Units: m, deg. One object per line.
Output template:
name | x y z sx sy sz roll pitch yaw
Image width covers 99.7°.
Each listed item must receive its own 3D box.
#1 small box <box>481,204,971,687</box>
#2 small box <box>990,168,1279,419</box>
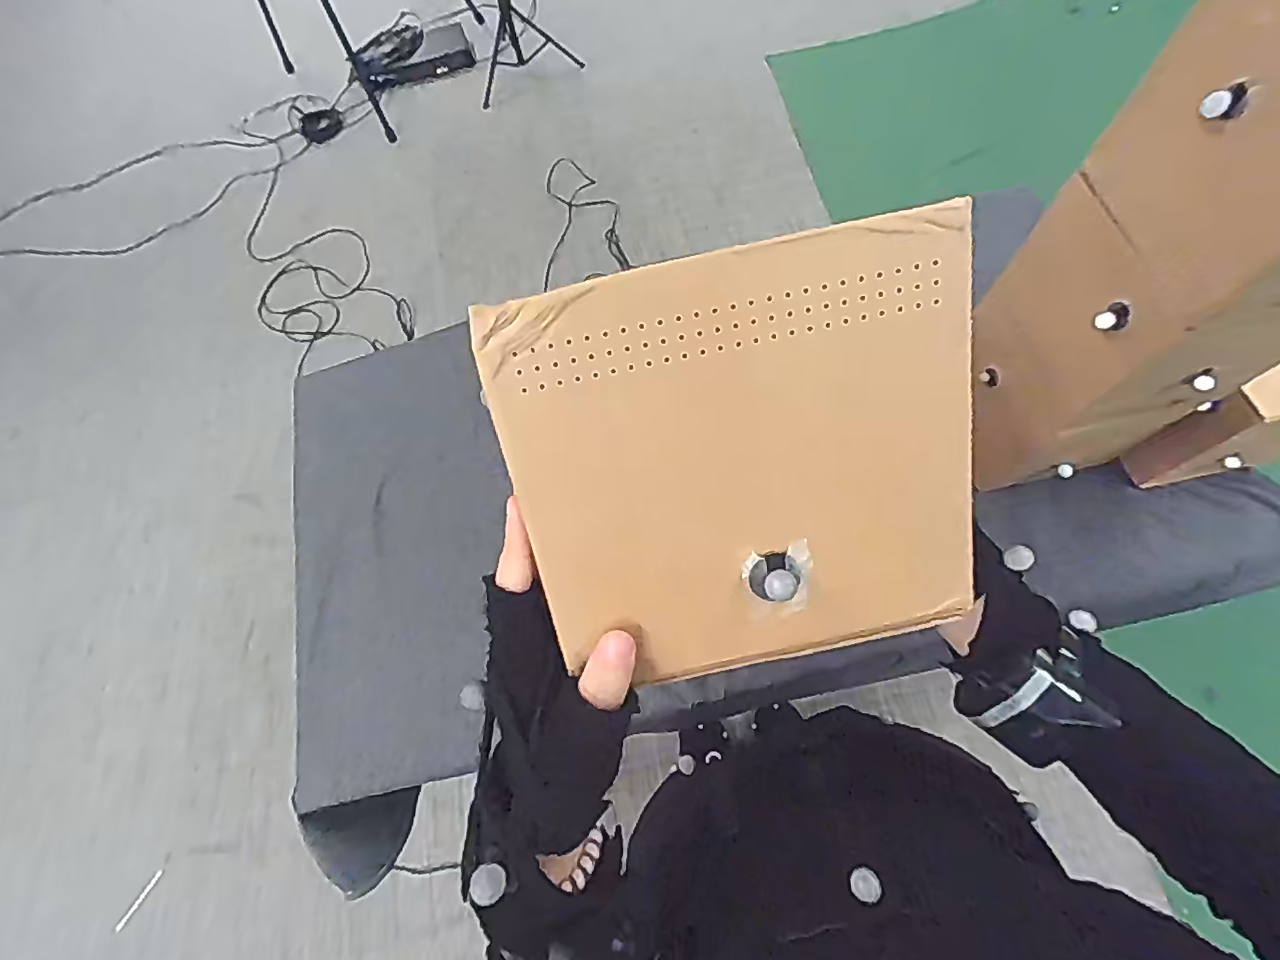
small box | 0.039 -0.029 0.283 0.179 0.168 0.176 -12 108 0
small box | 0.472 -0.171 0.499 0.168 0.176 0.179 -12 67 2
